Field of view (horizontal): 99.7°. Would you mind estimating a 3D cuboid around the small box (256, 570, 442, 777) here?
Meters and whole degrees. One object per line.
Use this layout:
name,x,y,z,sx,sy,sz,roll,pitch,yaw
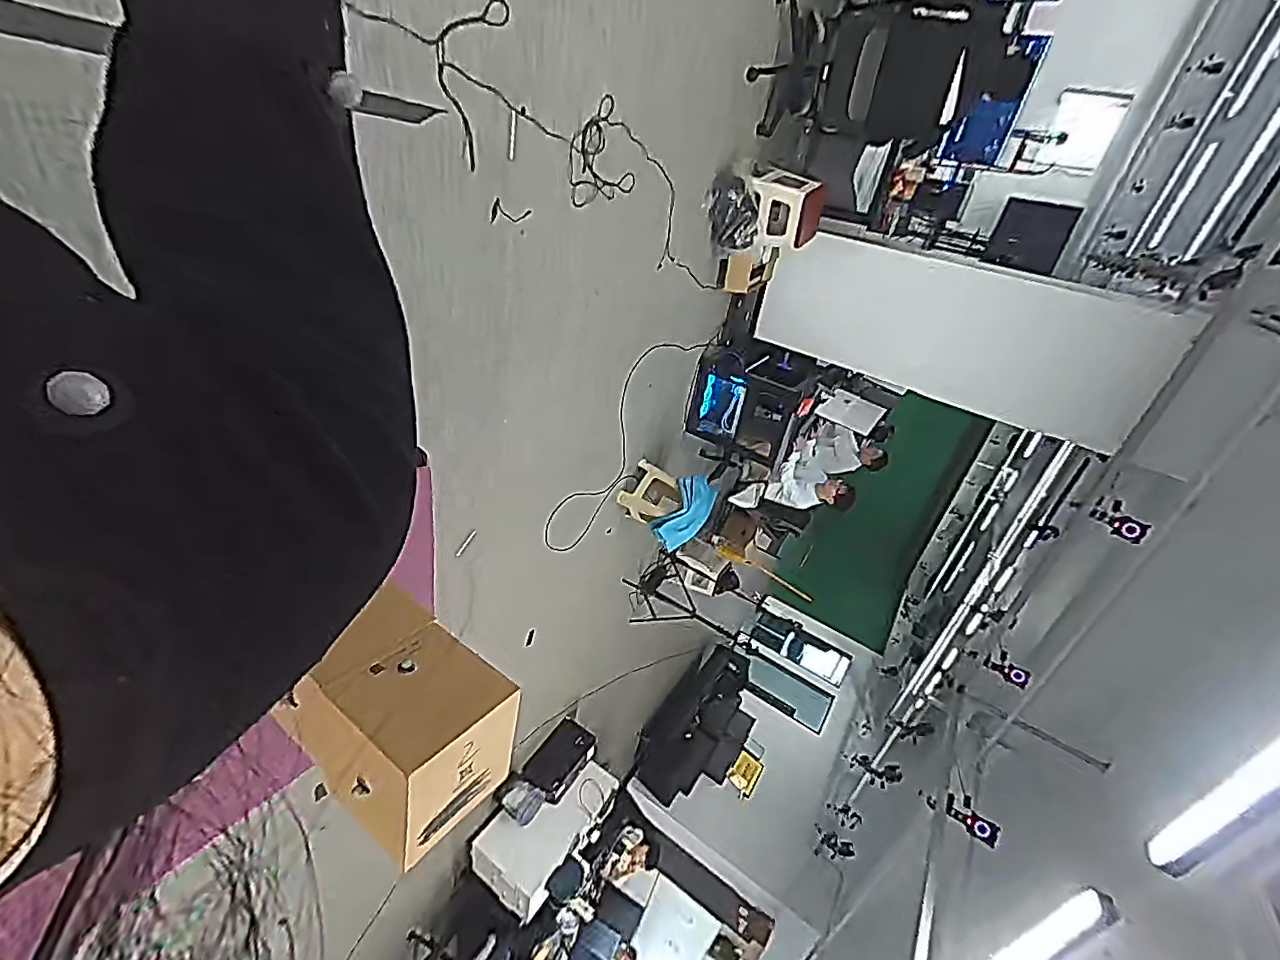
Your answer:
small box,-0.405,0.260,0.763,0.168,0.176,0.179,-28,137,-53
